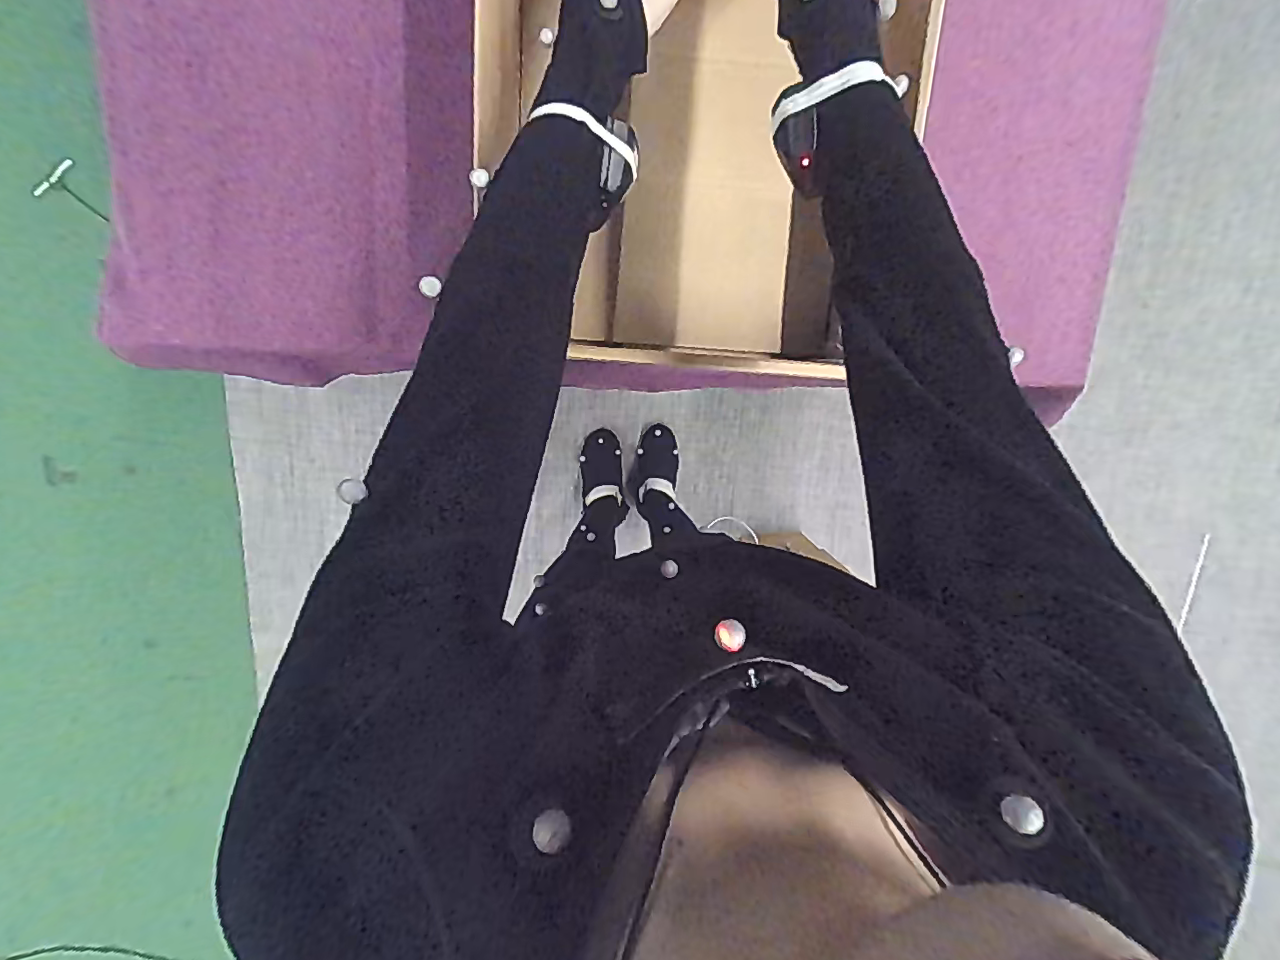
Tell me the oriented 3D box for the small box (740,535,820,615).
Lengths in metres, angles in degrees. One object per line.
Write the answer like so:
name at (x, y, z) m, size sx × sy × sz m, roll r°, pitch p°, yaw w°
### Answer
small box at (0.373, 0.253, 1.466) m, size 0.179 × 0.176 × 0.168 m, roll -3°, pitch 102°, yaw -2°

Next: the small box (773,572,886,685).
small box at (0.388, 0.305, 1.141) m, size 0.168 × 0.176 × 0.179 m, roll 4°, pitch 101°, yaw -3°
